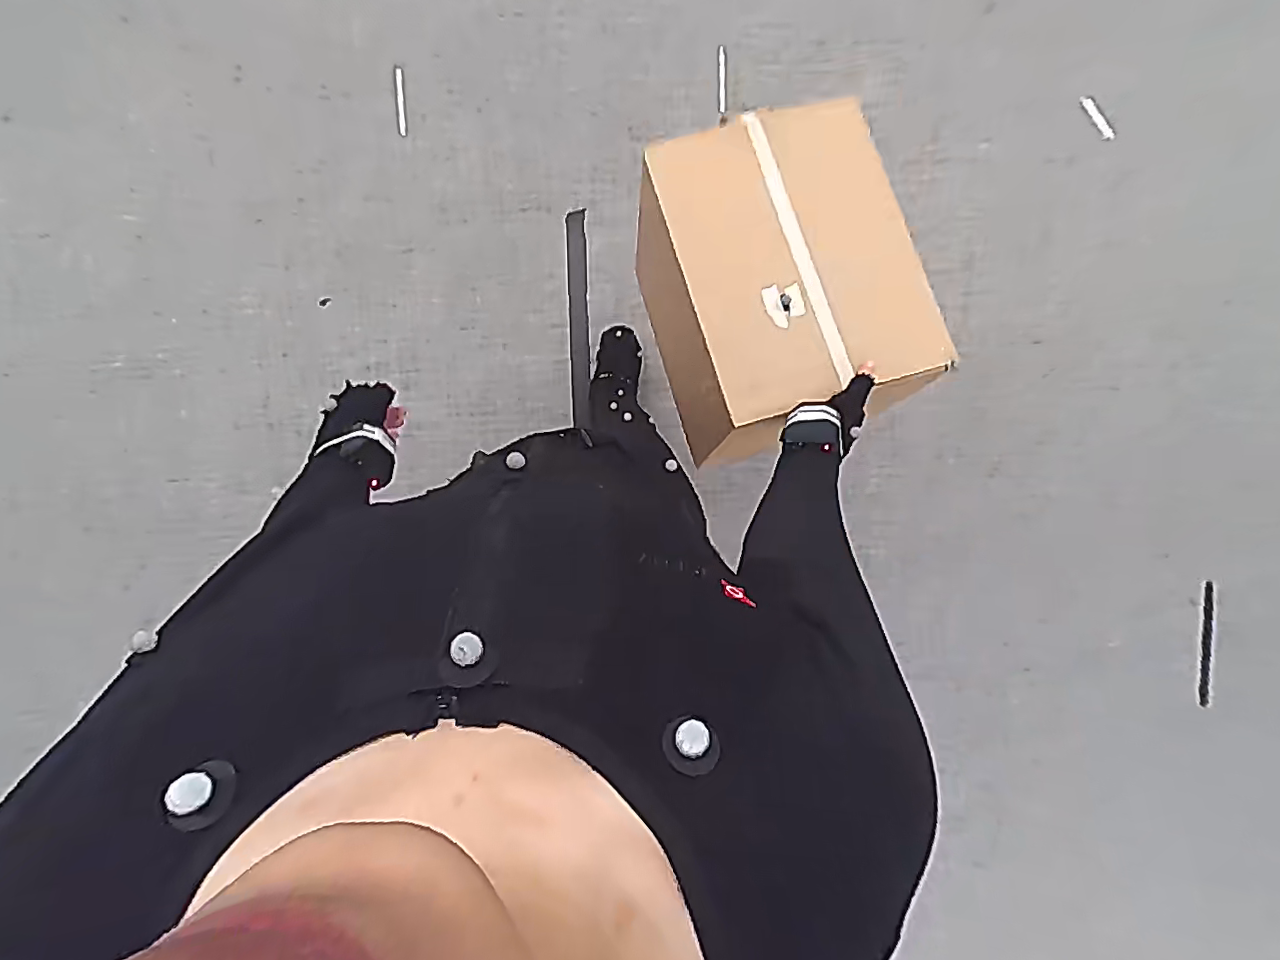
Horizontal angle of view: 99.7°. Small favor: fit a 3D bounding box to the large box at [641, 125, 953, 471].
[{"bbox_3d":[0.212,-0.267,0.889,0.320,0.320,0.408,-16,81,-5],"label":"large box"}]
